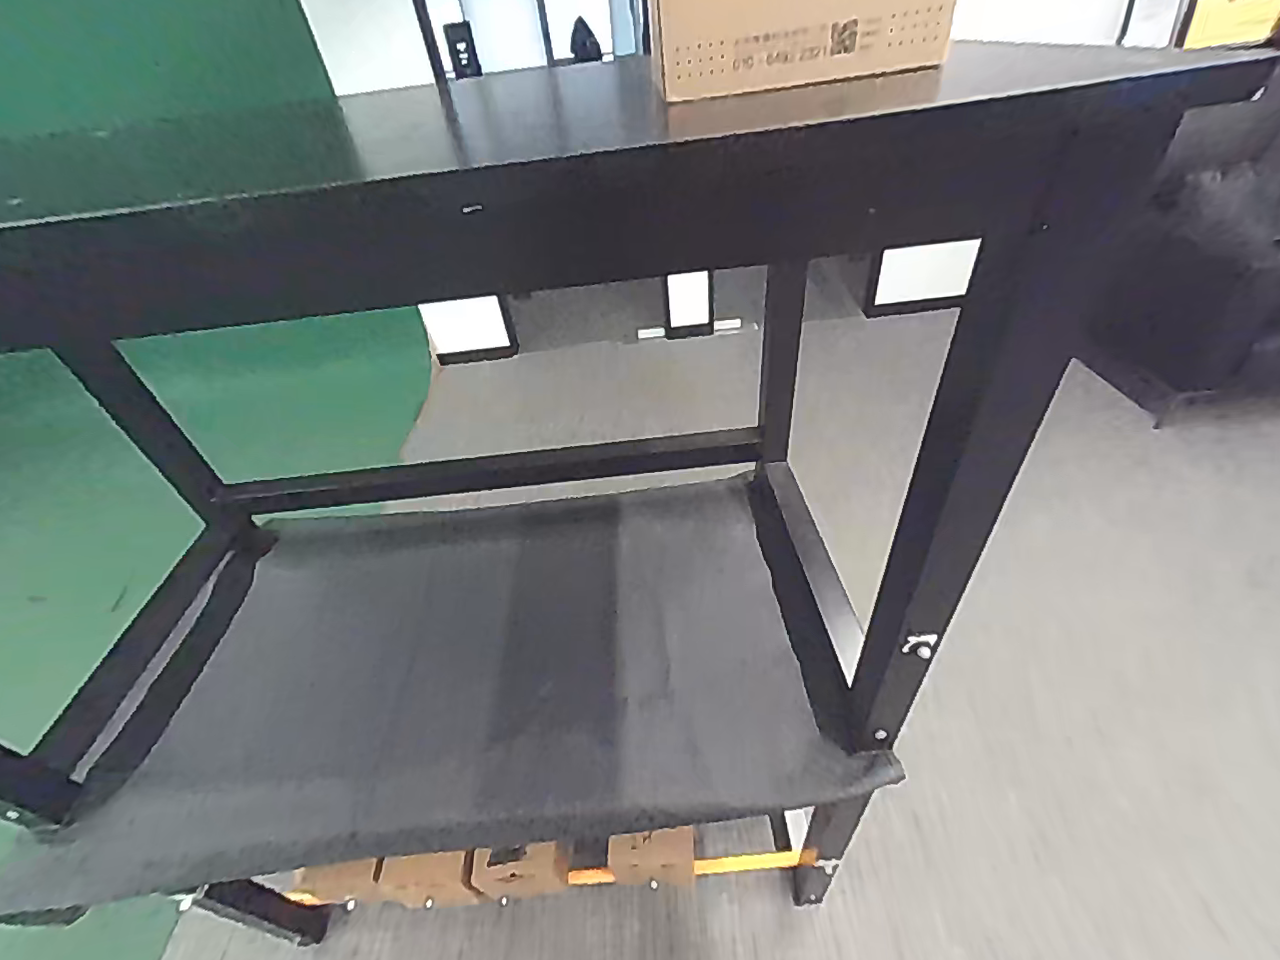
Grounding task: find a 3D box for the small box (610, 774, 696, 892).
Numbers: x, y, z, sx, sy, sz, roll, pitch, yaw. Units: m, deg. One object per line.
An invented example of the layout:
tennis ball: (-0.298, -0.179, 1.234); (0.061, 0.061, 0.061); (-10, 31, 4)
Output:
small box: (0.034, 0.758, 1.165); (0.168, 0.176, 0.179); (-4, 42, 6)
